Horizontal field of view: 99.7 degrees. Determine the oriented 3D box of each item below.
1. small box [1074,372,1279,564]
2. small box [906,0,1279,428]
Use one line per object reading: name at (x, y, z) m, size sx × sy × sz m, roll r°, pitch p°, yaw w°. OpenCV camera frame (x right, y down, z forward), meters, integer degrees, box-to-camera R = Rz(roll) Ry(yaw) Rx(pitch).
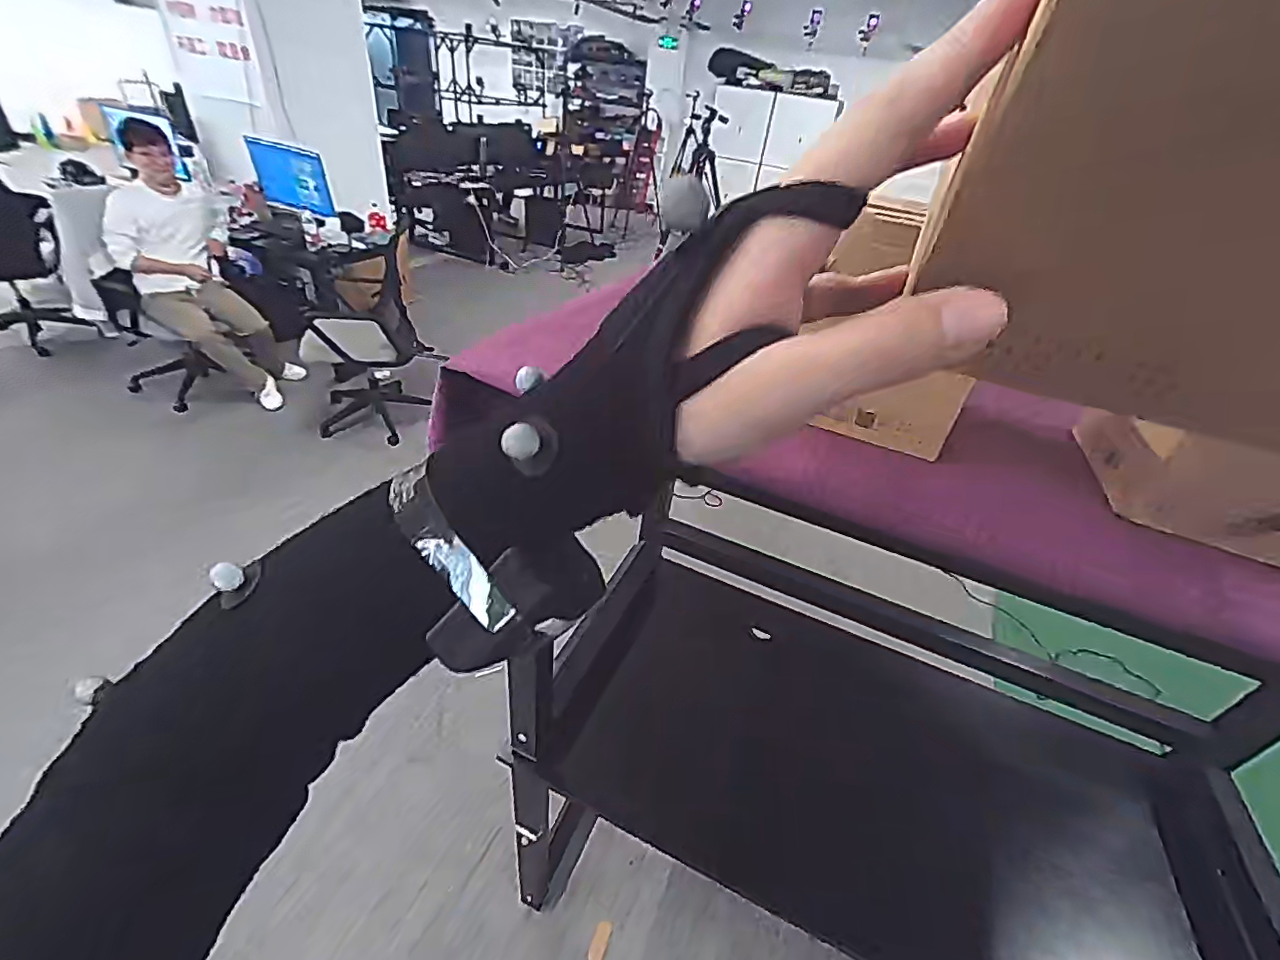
small box at (0.469, -0.049, 0.388) m, size 0.179 × 0.176 × 0.168 m, roll 21°, pitch 36°, yaw 16°
small box at (0.205, -0.135, 0.159) m, size 0.179 × 0.176 × 0.168 m, roll 19°, pitch 67°, yaw 15°
